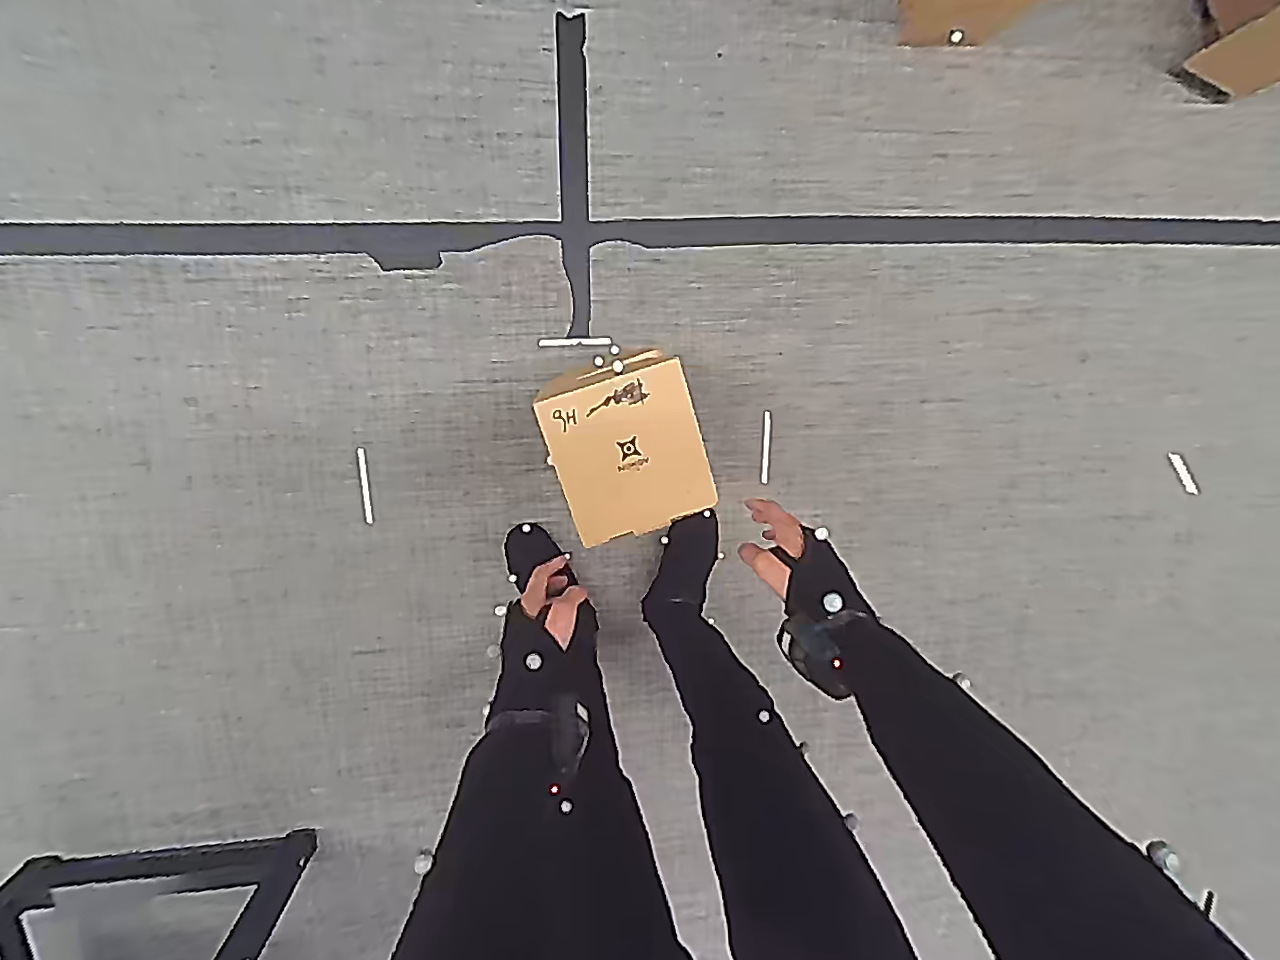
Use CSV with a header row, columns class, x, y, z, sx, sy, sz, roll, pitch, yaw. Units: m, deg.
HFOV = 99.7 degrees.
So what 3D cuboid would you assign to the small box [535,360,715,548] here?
class,x,y,z,sx,sy,sz,roll,pitch,yaw
small box,-0.021,-0.043,0.677,0.168,0.176,0.179,-18,105,-3
